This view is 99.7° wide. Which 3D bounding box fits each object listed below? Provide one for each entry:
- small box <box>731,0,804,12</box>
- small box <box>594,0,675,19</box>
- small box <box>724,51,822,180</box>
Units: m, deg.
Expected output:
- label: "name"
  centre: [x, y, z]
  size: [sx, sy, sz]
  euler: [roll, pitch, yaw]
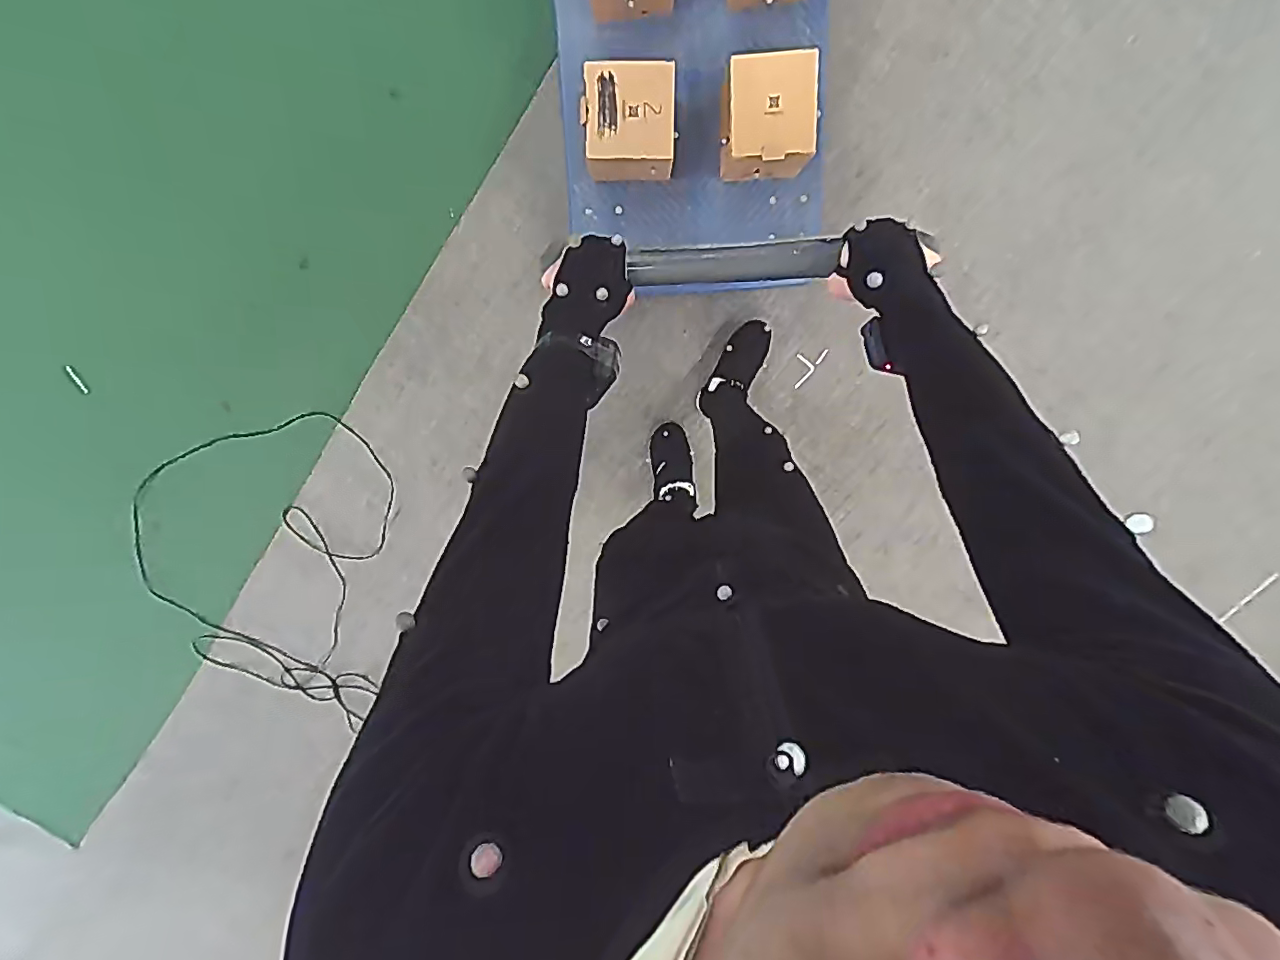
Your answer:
- label: "small box"
  centre: [0.257, -1.040, 1.019]
  size: [0.168, 0.176, 0.179]
  euler: [-6, 107, 4]
- label: "small box"
  centre: [-0.018, -1.022, 1.030]
  size: [0.168, 0.176, 0.179]
  euler: [-6, 106, 2]
- label: "small box"
  centre: [0.264, -0.735, 1.107]
  size: [0.168, 0.176, 0.179]
  euler: [-3, 107, 2]
